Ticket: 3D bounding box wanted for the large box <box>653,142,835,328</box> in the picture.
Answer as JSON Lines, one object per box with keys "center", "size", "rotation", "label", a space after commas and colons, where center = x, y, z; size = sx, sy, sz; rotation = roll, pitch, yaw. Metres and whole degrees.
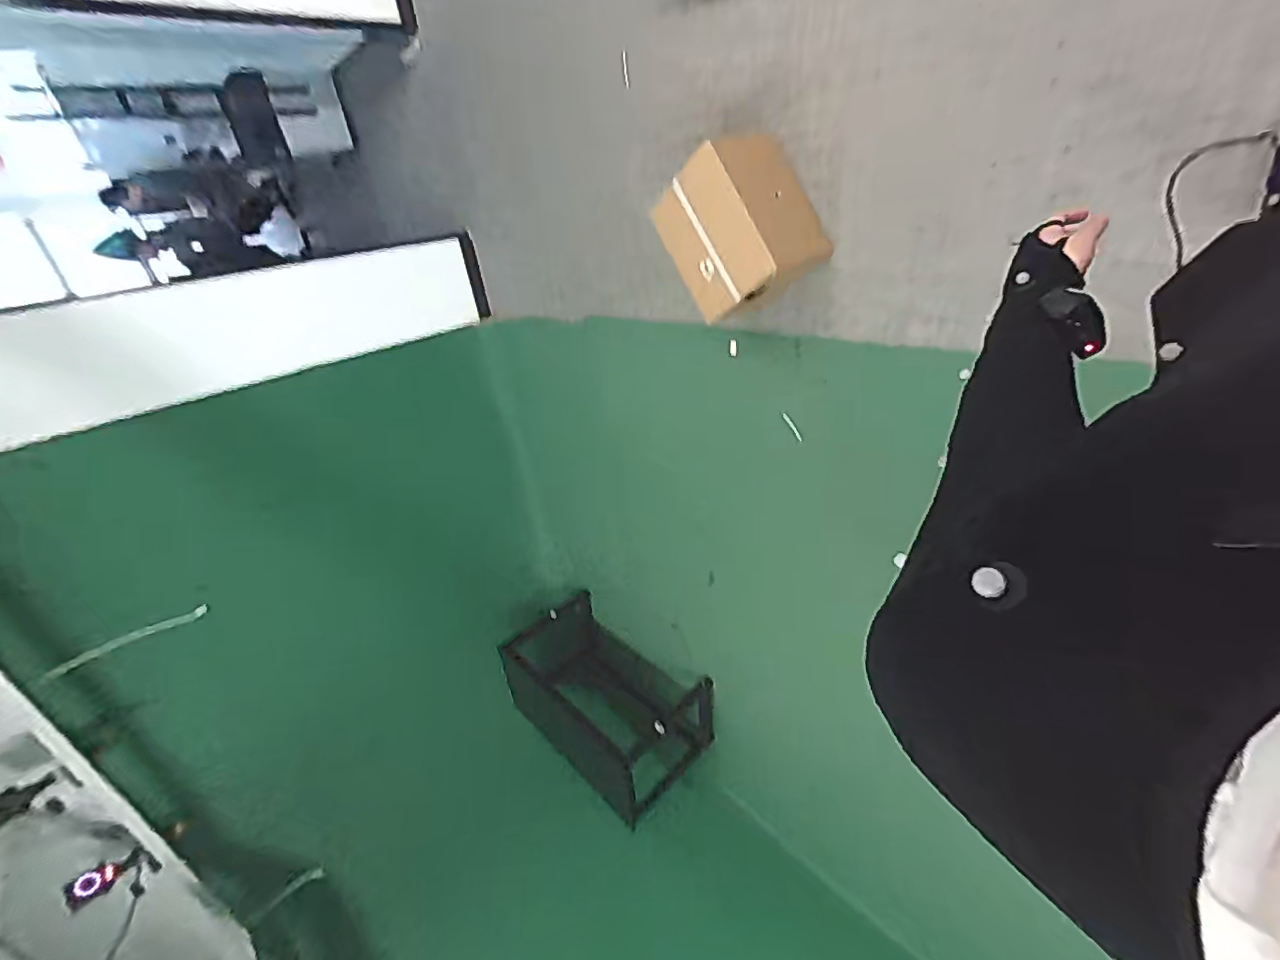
{"center": [0.319, -0.755, 1.674], "size": [0.320, 0.320, 0.408], "rotation": [-28, 92, 56], "label": "large box"}
